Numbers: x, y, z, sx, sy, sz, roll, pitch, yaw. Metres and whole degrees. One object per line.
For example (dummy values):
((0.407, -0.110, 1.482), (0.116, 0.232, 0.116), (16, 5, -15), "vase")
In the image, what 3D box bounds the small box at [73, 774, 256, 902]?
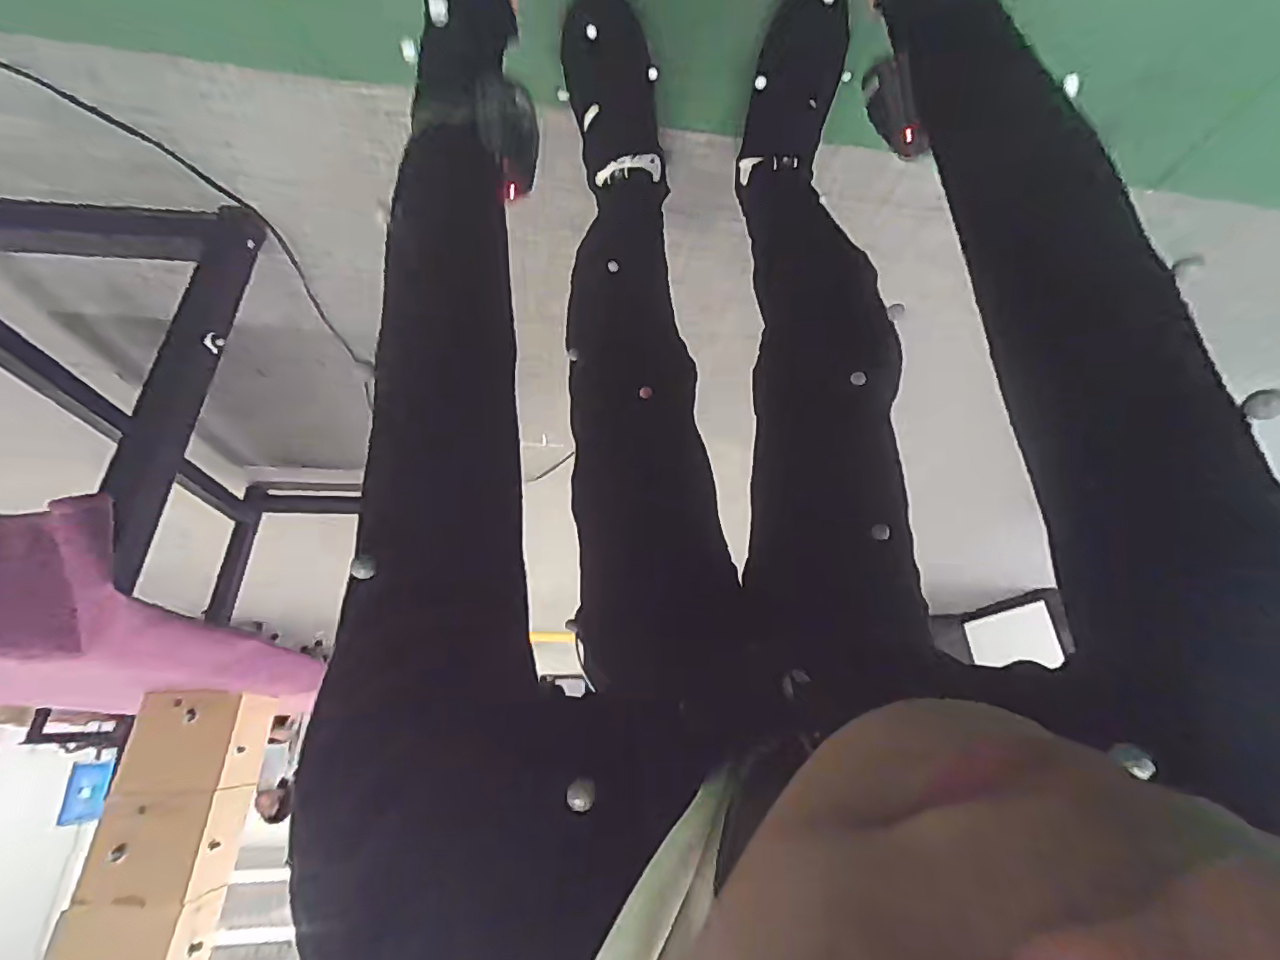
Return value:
((-0.839, 0.634, 0.977), (0.168, 0.176, 0.179), (5, 153, -11), "small box")

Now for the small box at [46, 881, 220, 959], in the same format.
((-0.844, 0.779, 0.903), (0.179, 0.176, 0.168), (5, 152, -11), "small box")
